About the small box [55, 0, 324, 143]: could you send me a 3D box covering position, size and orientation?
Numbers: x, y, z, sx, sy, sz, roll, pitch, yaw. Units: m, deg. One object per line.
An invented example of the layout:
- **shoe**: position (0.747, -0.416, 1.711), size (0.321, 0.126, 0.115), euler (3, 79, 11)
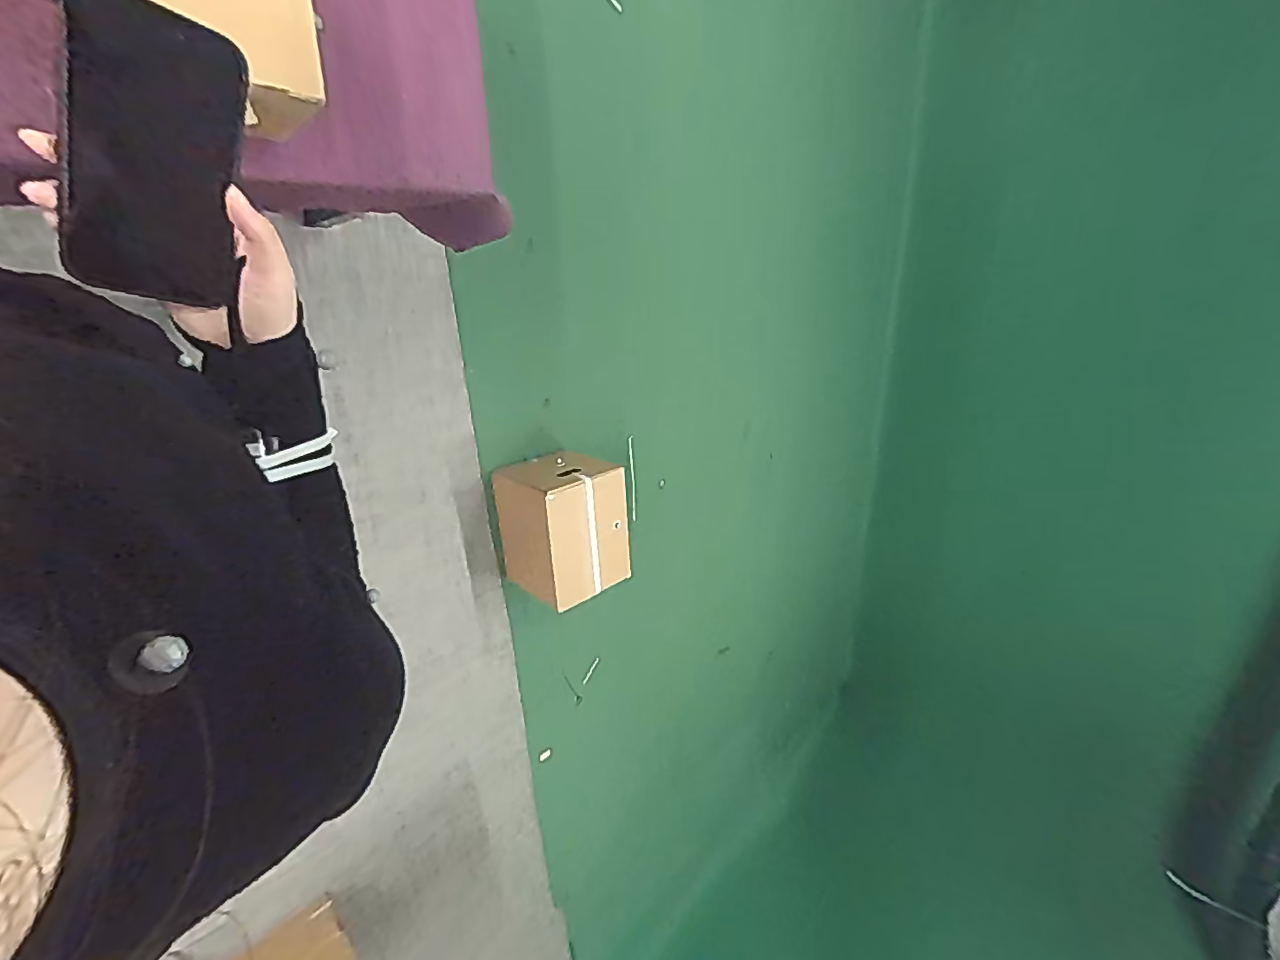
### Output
- **small box**: position (-0.410, -0.432, 0.485), size (0.168, 0.176, 0.179), euler (-16, 114, -42)
